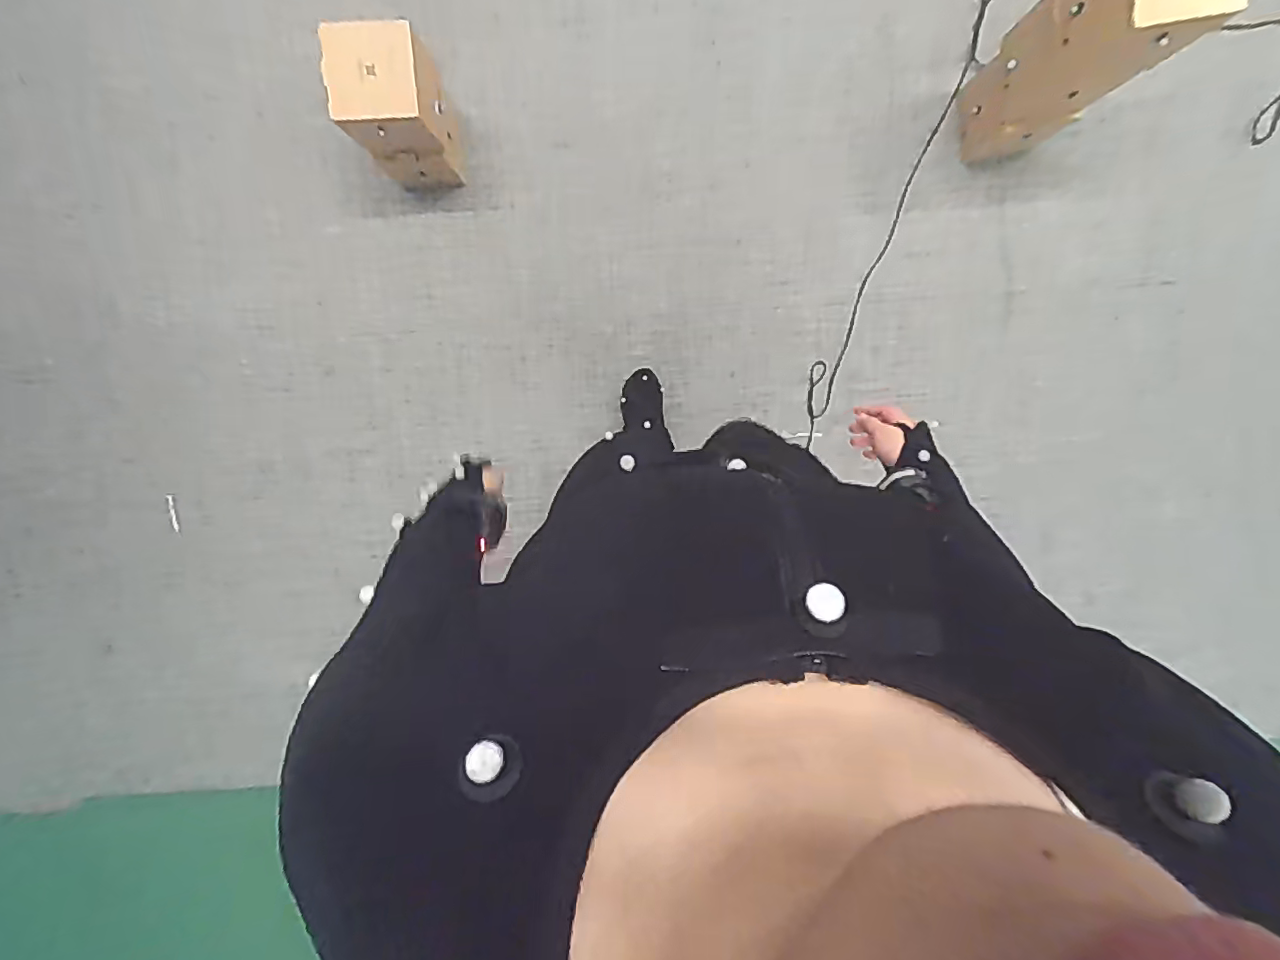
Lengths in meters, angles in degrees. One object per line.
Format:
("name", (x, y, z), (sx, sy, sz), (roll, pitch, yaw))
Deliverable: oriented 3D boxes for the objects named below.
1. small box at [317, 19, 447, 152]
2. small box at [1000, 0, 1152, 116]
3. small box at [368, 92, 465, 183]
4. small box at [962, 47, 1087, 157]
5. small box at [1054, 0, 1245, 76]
("small box", (-0.515, -0.791, 1.102), (0.179, 0.176, 0.168), (-3, 101, 1))
("small box", (0.851, -0.856, 1.065), (0.179, 0.176, 0.168), (-7, 99, 3))
("small box", (-0.522, -0.812, 1.264), (0.168, 0.176, 0.179), (-3, 100, 1))
("small box", (0.860, -0.866, 1.229), (0.179, 0.176, 0.168), (-11, 100, 2))
("small box", (0.844, -0.822, 0.906), (0.179, 0.176, 0.168), (-8, 99, 3))
